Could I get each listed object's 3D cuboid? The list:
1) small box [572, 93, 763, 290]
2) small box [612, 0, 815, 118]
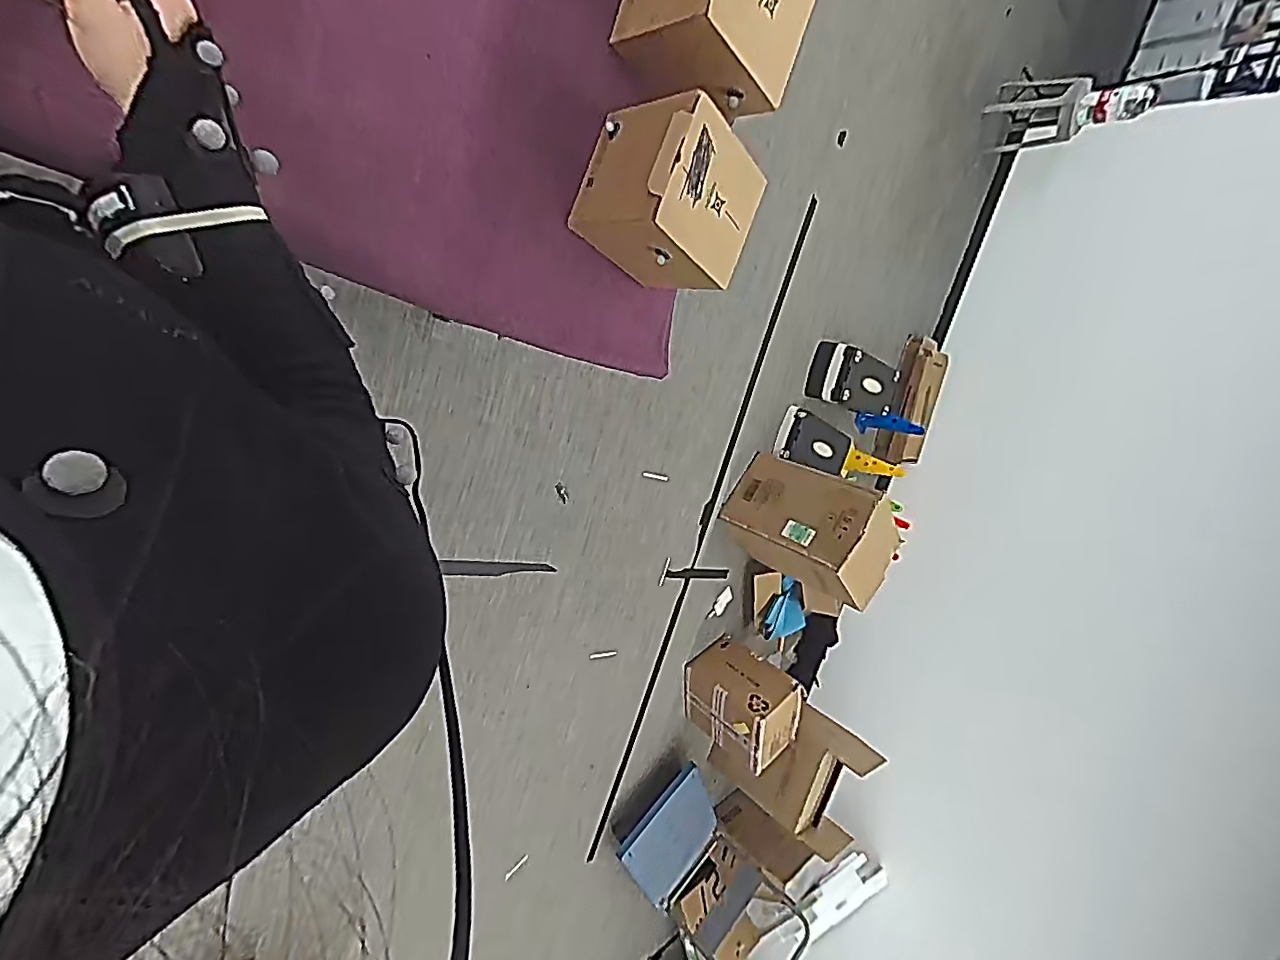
[{"bbox_3d":[0.035,-0.382,0.749,0.179,0.176,0.168,20,92,-49],"label":"small box"},{"bbox_3d":[0.096,-0.606,0.707,0.179,0.176,0.168,11,101,-48],"label":"small box"}]
